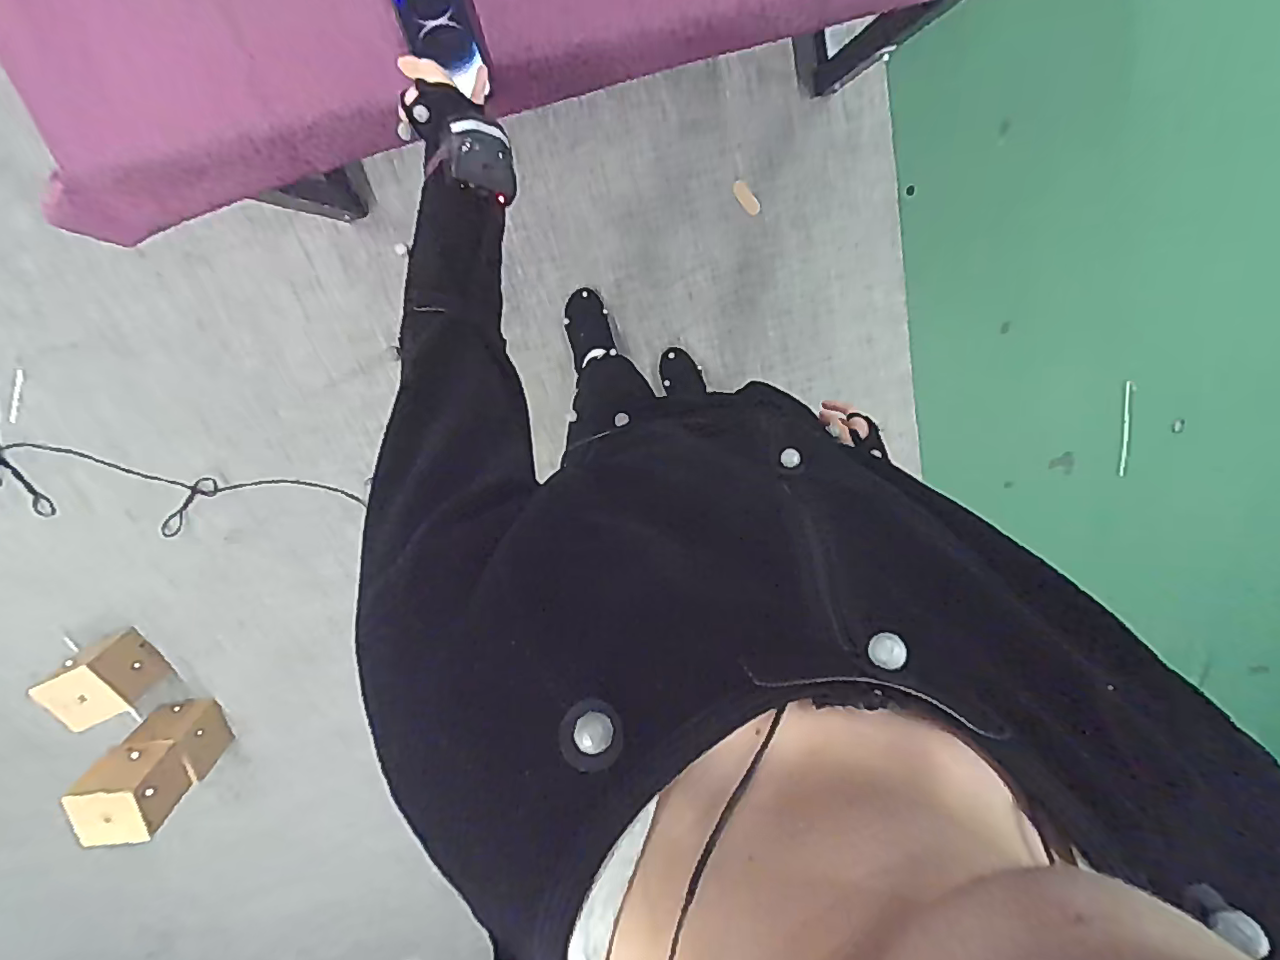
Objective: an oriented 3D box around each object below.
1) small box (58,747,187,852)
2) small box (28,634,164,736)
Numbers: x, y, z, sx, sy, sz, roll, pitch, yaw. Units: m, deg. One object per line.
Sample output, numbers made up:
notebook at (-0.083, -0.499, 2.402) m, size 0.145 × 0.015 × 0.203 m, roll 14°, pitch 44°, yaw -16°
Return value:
small box at (-1.357, 0.842, 1.435) m, size 0.168 × 0.176 × 0.179 m, roll -1°, pitch 109°, yaw -6°
small box at (-1.476, 0.556, 1.488) m, size 0.179 × 0.176 × 0.168 m, roll -24°, pitch 111°, yaw 3°
